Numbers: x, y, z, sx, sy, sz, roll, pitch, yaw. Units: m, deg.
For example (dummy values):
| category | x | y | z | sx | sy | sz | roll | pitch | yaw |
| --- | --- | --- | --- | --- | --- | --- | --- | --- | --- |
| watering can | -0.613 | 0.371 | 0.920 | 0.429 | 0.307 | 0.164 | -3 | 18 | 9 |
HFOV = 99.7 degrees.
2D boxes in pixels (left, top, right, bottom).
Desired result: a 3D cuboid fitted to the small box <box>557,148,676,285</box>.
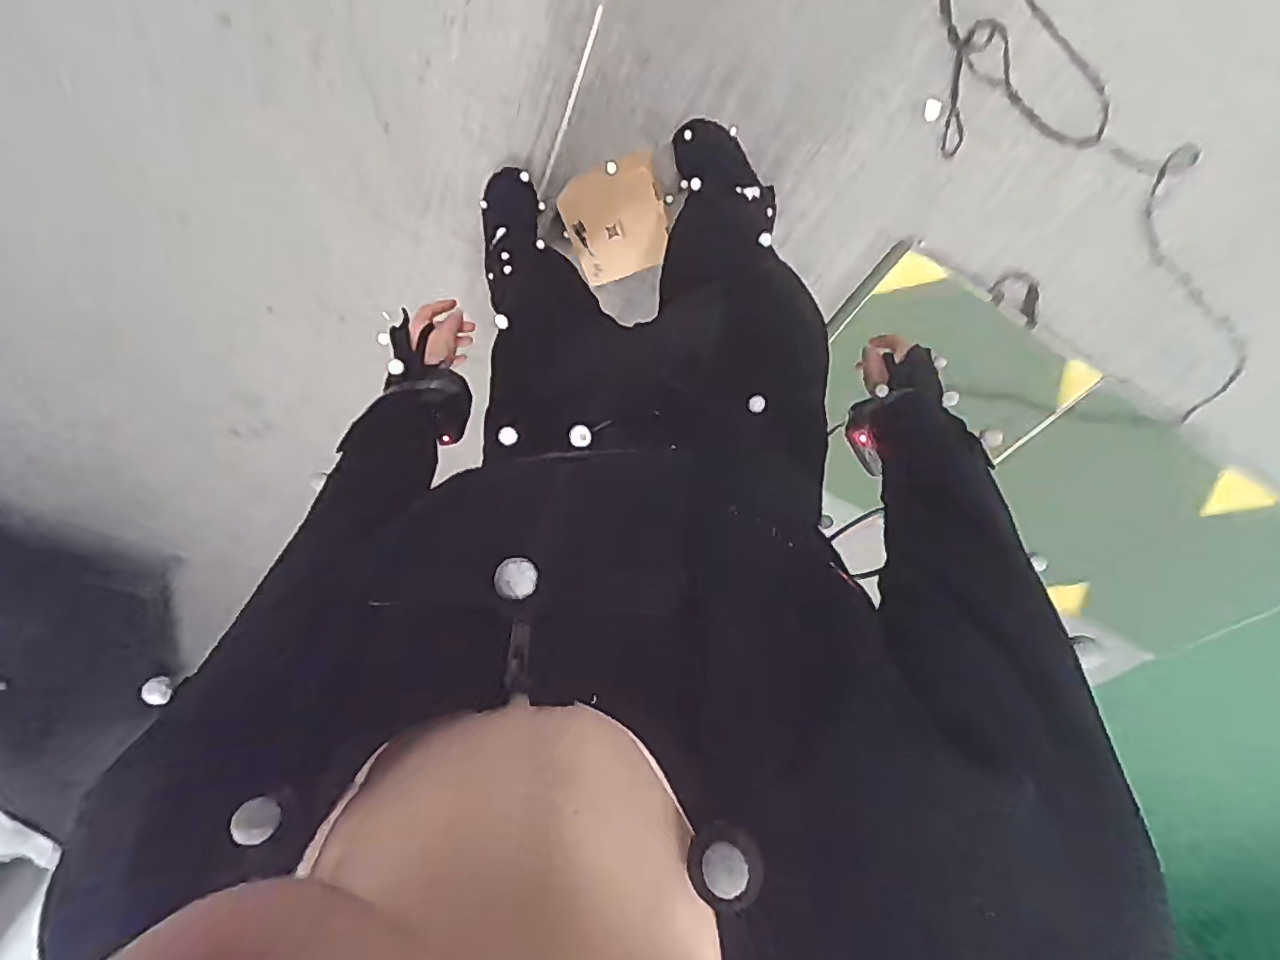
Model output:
| category | x | y | z | sx | sy | sz | roll | pitch | yaw |
| --- | --- | --- | --- | --- | --- | --- | --- | --- | --- |
| small box | -0.038 | -0.506 | 1.031 | 0.179 | 0.176 | 0.168 | -14 | 128 | 15 |
